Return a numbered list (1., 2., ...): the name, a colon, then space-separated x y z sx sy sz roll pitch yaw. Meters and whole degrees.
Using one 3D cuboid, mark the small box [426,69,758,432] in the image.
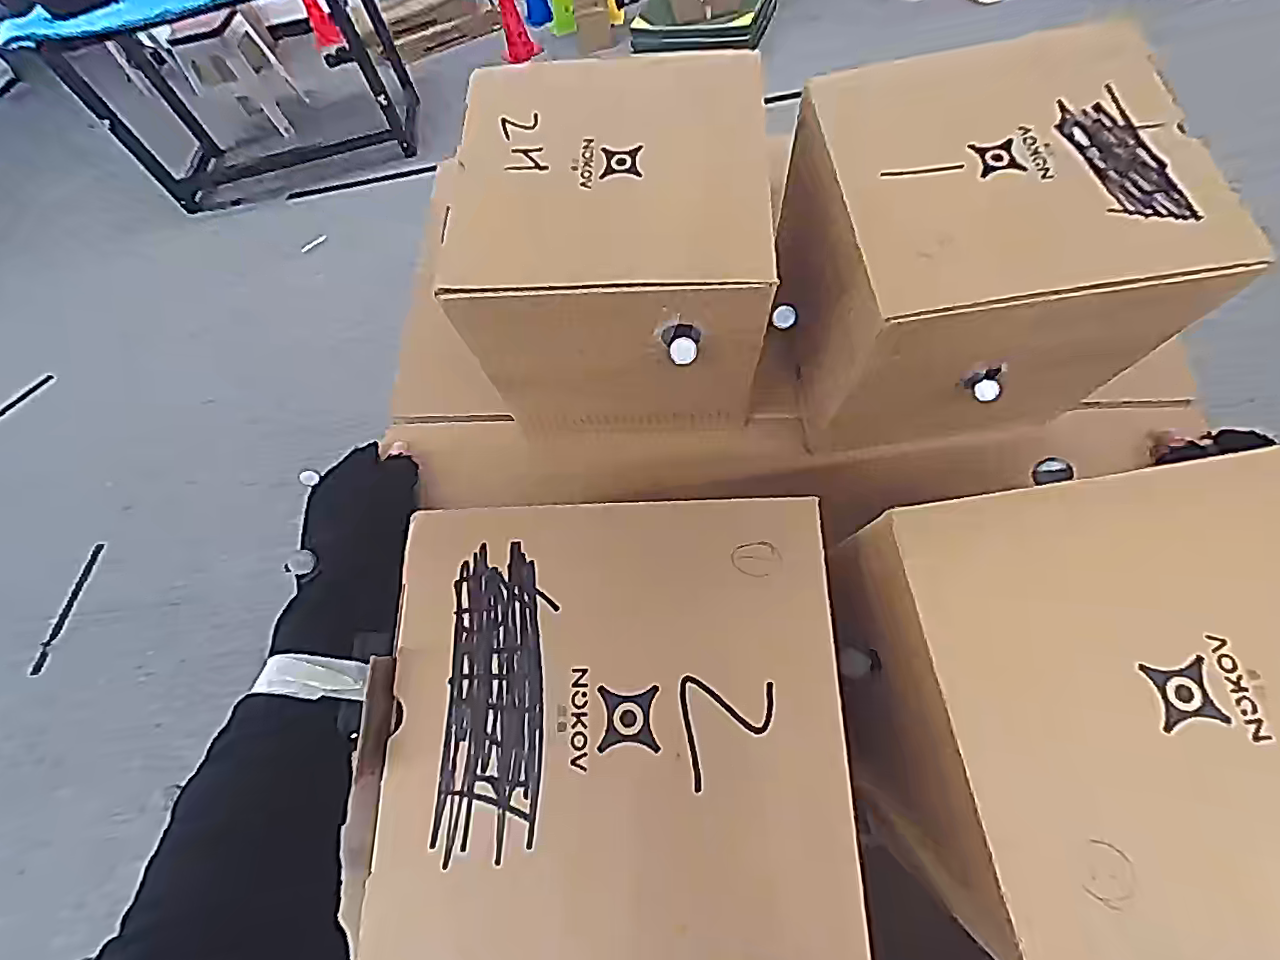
1. small box: -0.018 -0.142 0.380 0.179 0.176 0.168 0 70 6
